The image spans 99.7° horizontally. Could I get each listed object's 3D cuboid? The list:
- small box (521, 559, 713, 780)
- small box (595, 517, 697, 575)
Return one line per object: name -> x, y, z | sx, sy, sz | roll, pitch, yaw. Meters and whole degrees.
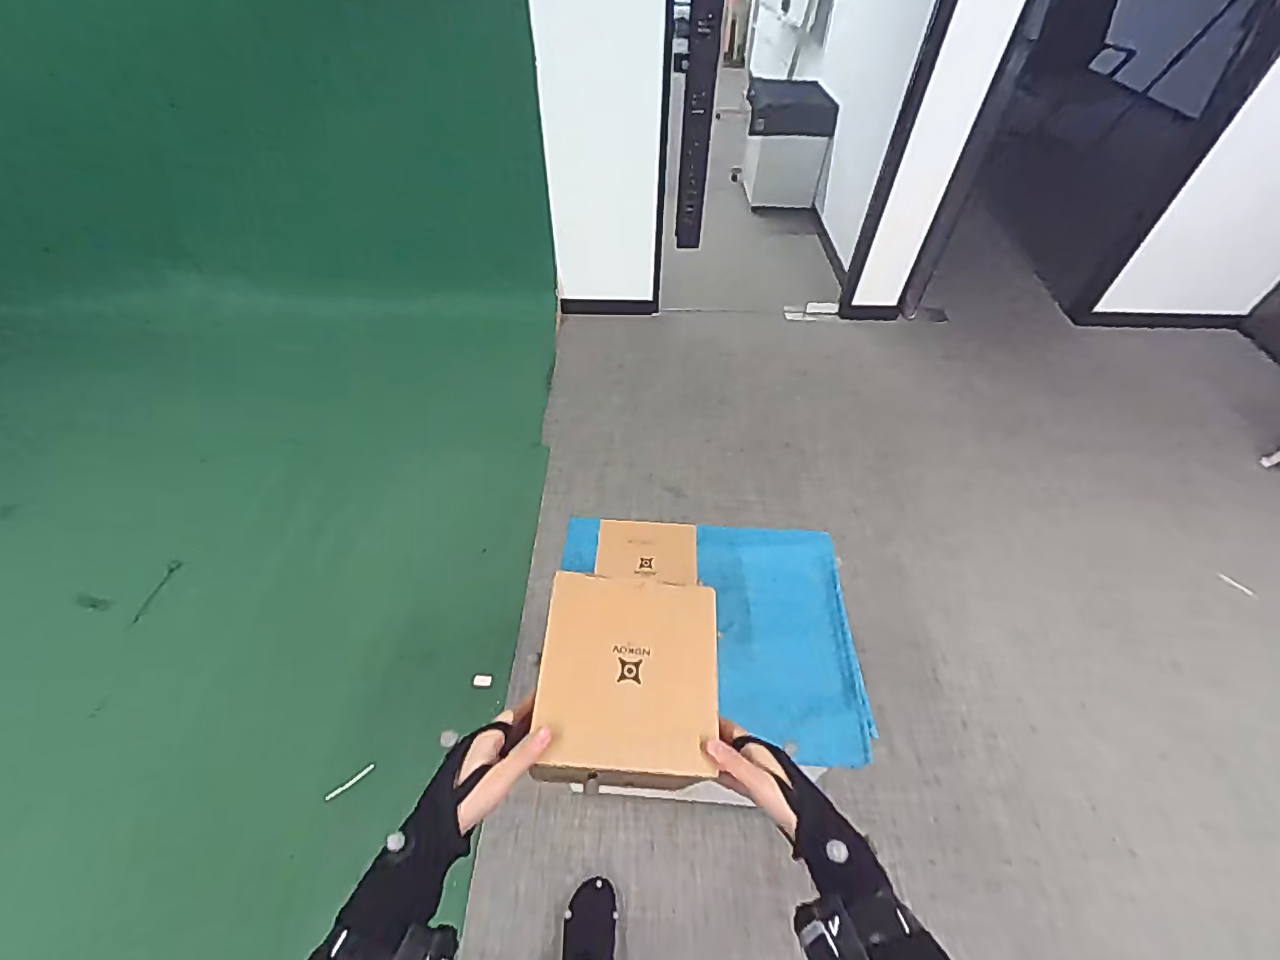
small box -> -0.022, 0.204, 0.564 | 0.168, 0.176, 0.179 | 7, 55, -4
small box -> 0.008, 0.187, 0.921 | 0.168, 0.176, 0.179 | 5, 48, 1
